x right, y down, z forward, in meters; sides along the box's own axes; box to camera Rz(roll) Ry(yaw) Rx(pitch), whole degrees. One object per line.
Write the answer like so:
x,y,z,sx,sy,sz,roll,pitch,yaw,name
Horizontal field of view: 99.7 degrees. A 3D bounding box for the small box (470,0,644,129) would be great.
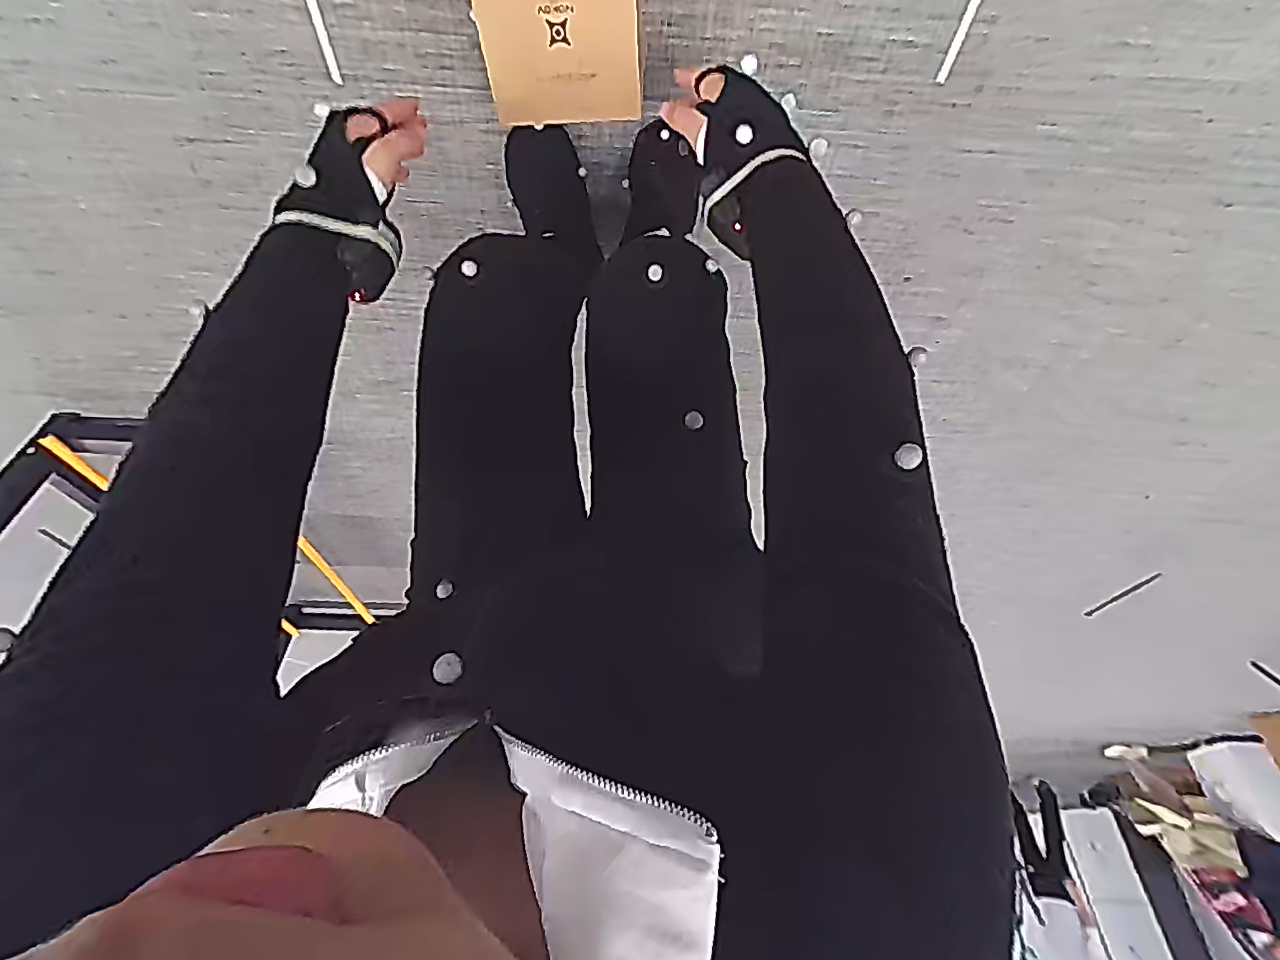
-0.082,-0.518,0.591,0.168,0.176,0.179,0,145,4,small box
